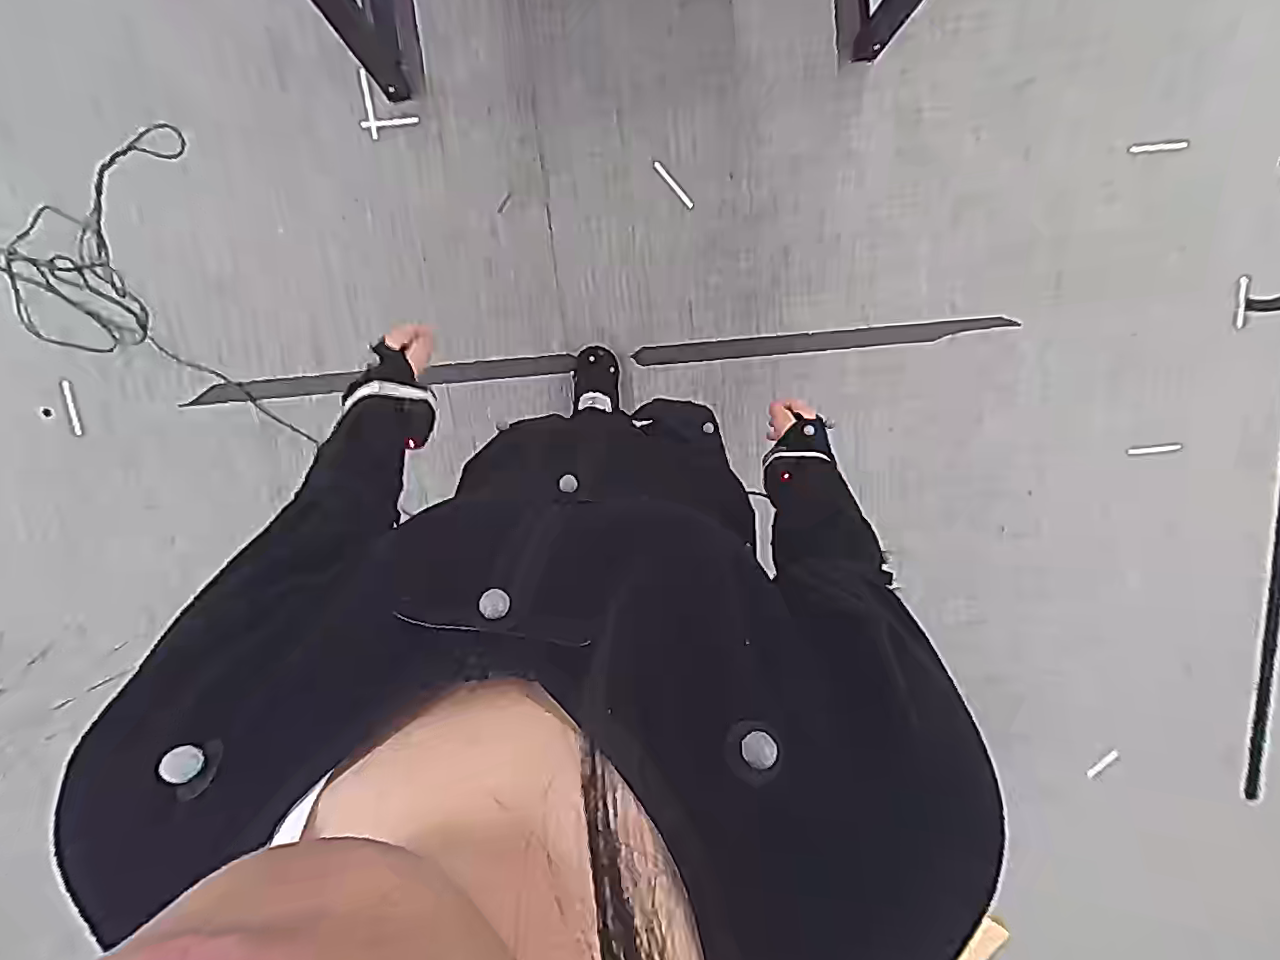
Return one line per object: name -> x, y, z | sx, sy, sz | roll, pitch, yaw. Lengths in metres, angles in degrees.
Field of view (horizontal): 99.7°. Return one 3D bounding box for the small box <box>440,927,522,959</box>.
small box -> -0.346, 1.090, 1.115 | 0.168, 0.176, 0.179 | 44, 95, -9
